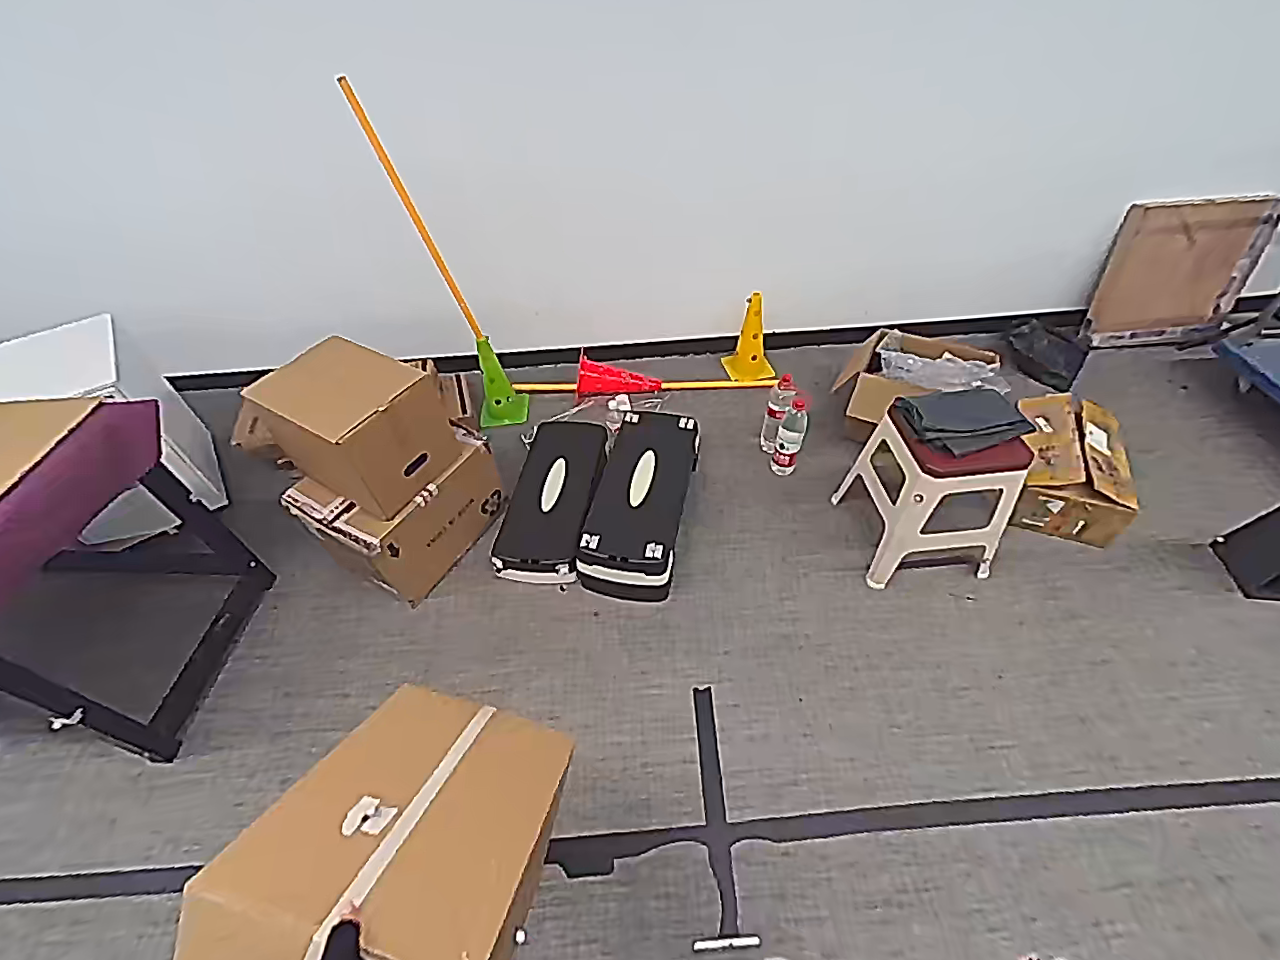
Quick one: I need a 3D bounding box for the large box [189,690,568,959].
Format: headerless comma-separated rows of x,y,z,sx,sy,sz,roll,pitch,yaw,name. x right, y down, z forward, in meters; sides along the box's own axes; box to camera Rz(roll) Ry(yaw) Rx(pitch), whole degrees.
-0.327,0.579,0.762,0.320,0.320,0.408,15,11,5,large box
